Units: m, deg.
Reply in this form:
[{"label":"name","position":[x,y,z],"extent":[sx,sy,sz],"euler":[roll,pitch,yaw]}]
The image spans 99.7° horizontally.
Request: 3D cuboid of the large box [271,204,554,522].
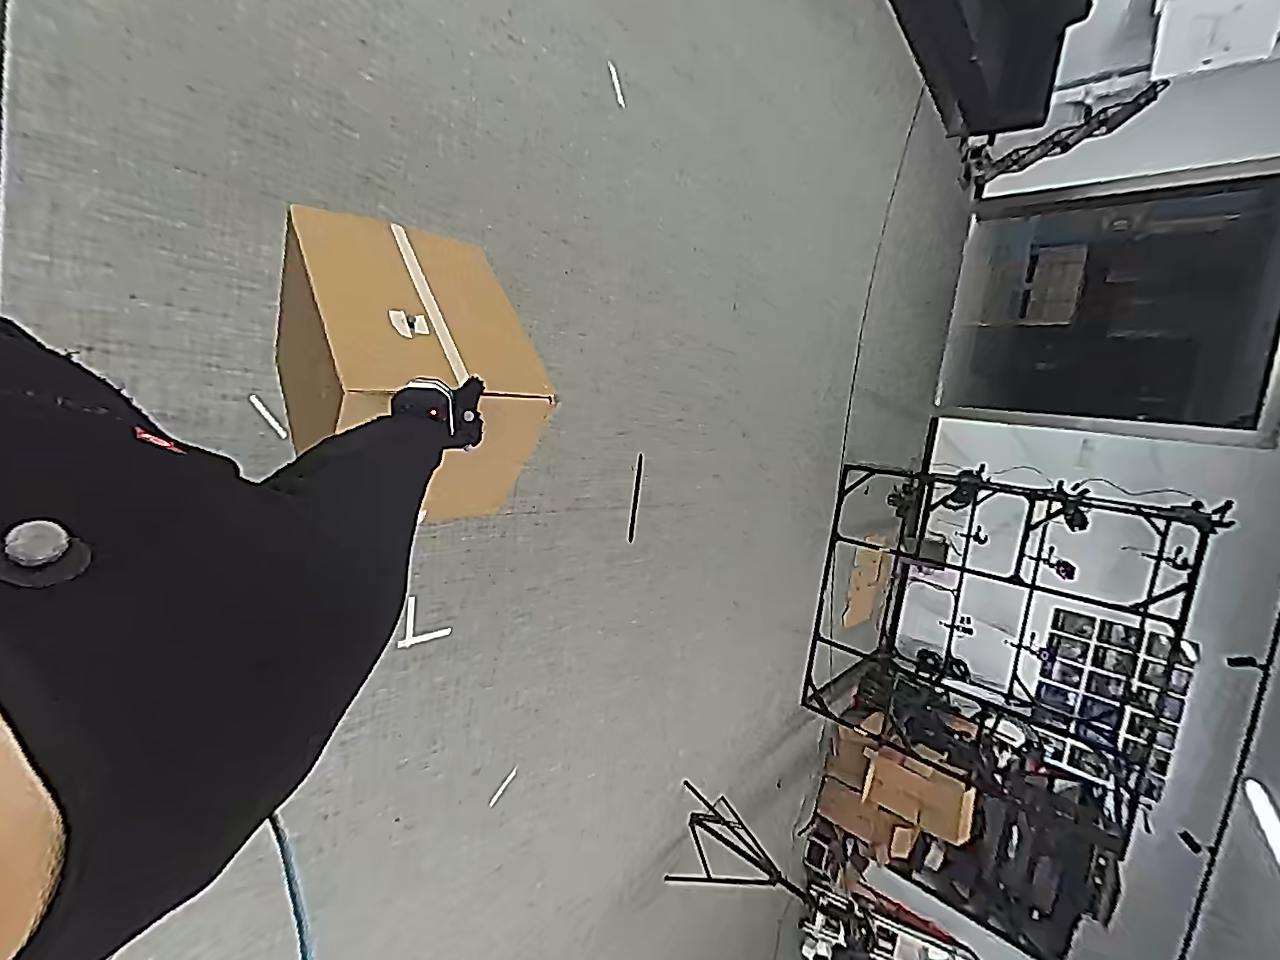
[{"label":"large box","position":[-0.416,-0.188,0.944],"extent":[0.320,0.408,0.320],"euler":[-7,149,-42]}]
